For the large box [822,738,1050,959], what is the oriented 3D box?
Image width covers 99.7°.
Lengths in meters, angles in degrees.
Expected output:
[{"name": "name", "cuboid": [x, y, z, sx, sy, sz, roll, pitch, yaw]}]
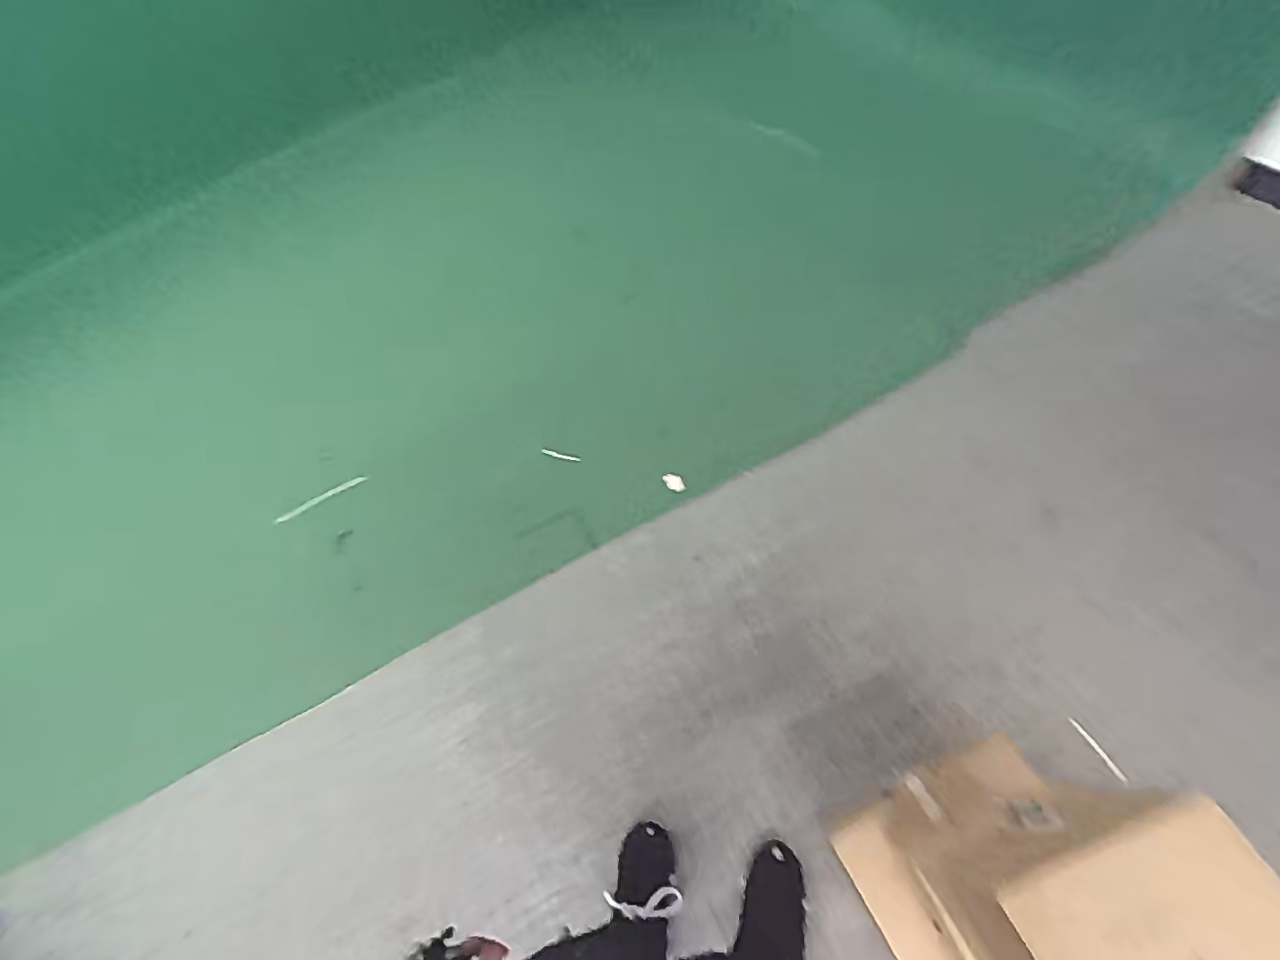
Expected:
[{"name": "large box", "cuboid": [0.541, 0.676, 0.844, 0.320, 0.320, 0.408, -30, 60, -1]}]

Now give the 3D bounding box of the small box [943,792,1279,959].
[{"name": "small box", "cuboid": [0.367, 0.356, 0.399, 0.168, 0.176, 0.179, -25, 60, -1]}]
